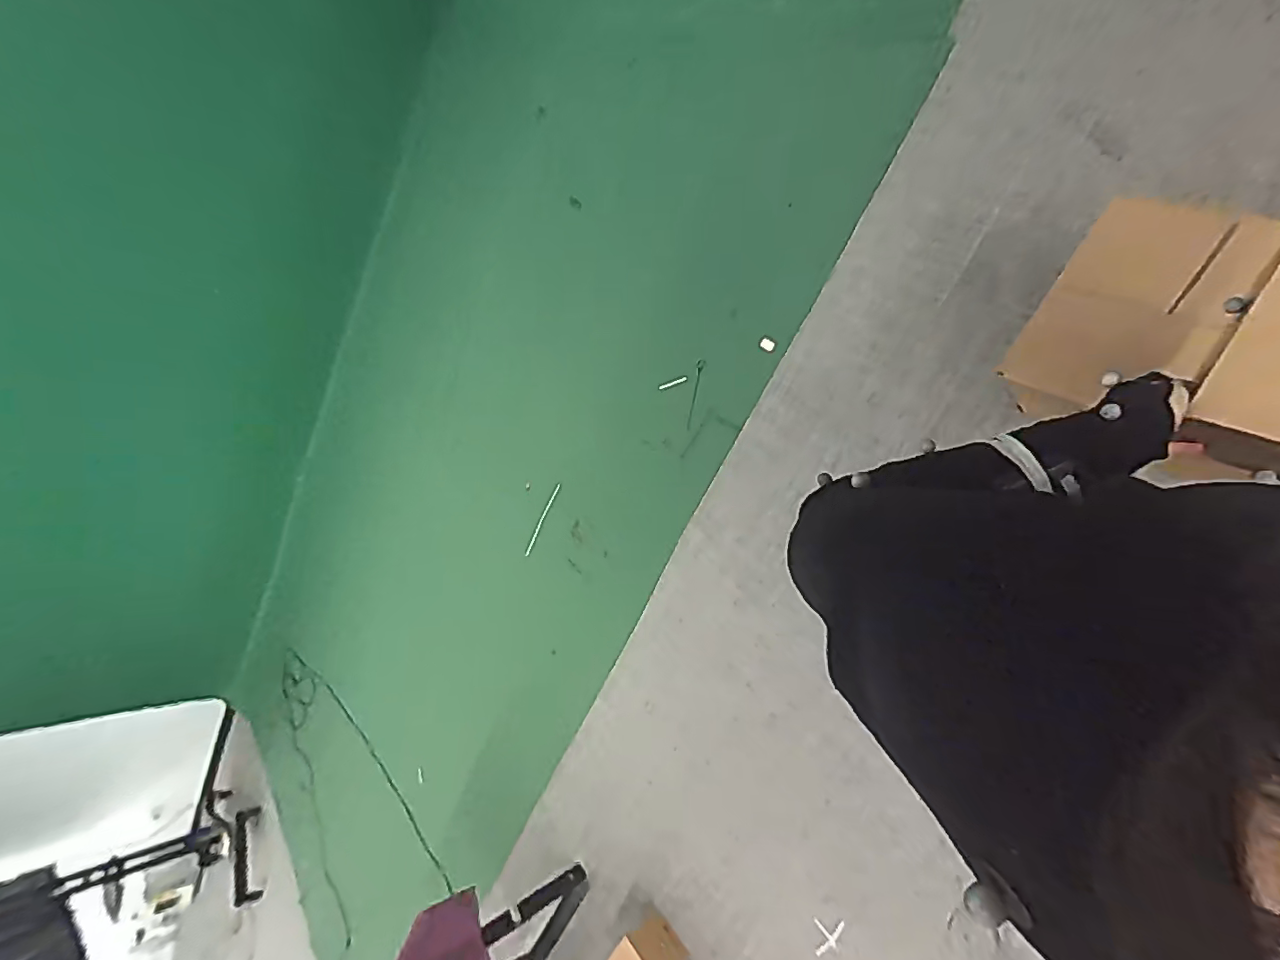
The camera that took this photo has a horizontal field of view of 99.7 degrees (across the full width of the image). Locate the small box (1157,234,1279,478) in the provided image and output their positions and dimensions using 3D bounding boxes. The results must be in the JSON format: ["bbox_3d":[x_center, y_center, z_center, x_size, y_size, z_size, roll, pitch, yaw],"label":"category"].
[{"bbox_3d":[0.566,-0.095,0.435,0.168,0.176,0.179,31,105,36],"label":"small box"}]
